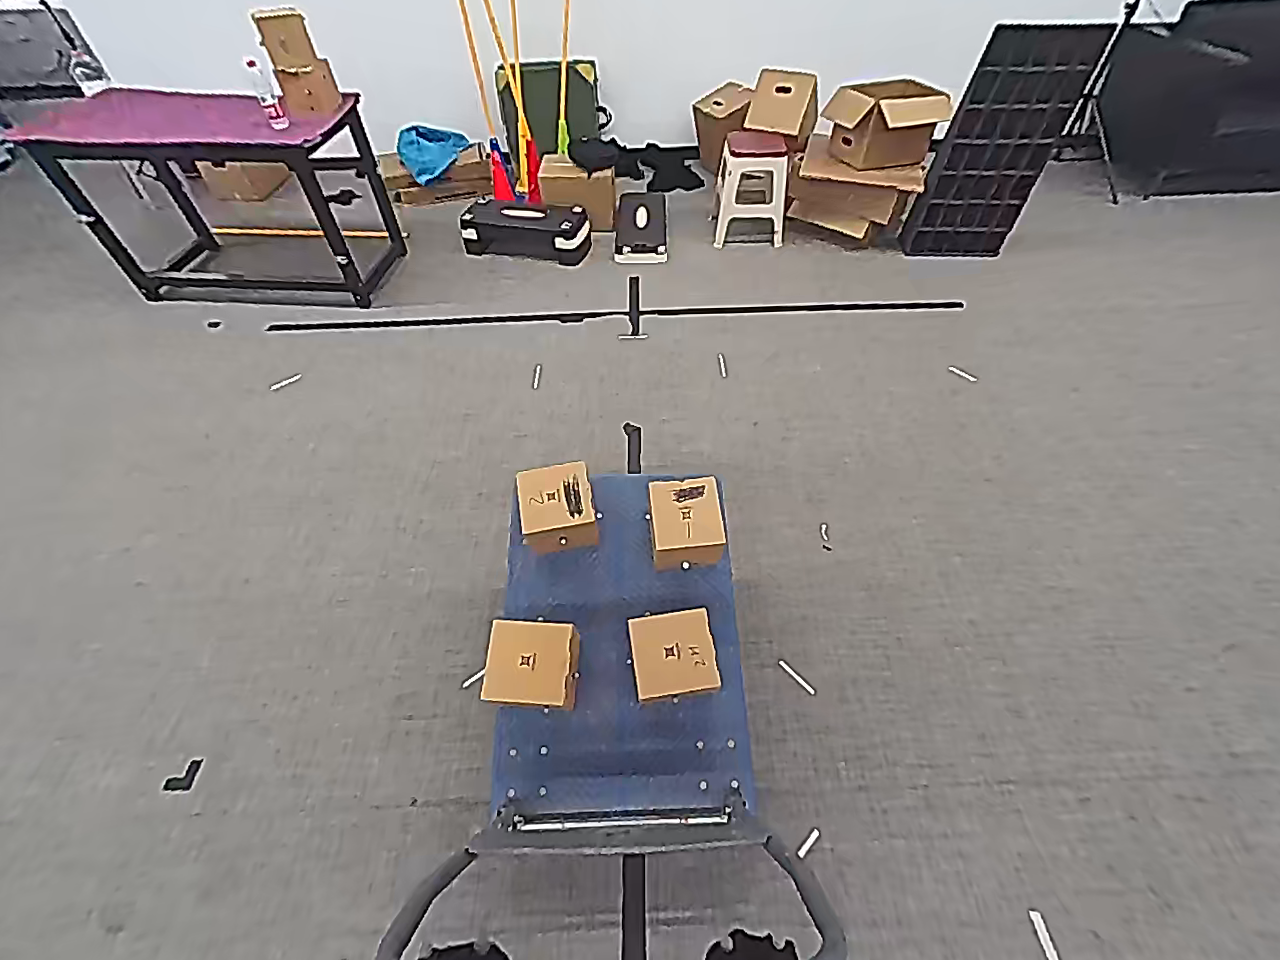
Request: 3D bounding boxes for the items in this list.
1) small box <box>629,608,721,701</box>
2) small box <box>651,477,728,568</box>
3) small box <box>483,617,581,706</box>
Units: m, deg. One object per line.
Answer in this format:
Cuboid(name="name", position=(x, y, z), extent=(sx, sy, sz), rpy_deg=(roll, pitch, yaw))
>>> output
Cuboid(name="small box", position=(0.075, 0.397, 1.216), extent=(0.179, 0.176, 0.168), rpy_deg=(-8, 65, -3))
Cuboid(name="small box", position=(0.117, 0.109, 1.352), extent=(0.168, 0.176, 0.179), rpy_deg=(-5, 66, -1))
Cuboid(name="small box", position=(-0.233, 0.412, 1.214), extent=(0.179, 0.176, 0.168), rpy_deg=(4, 64, 1))
